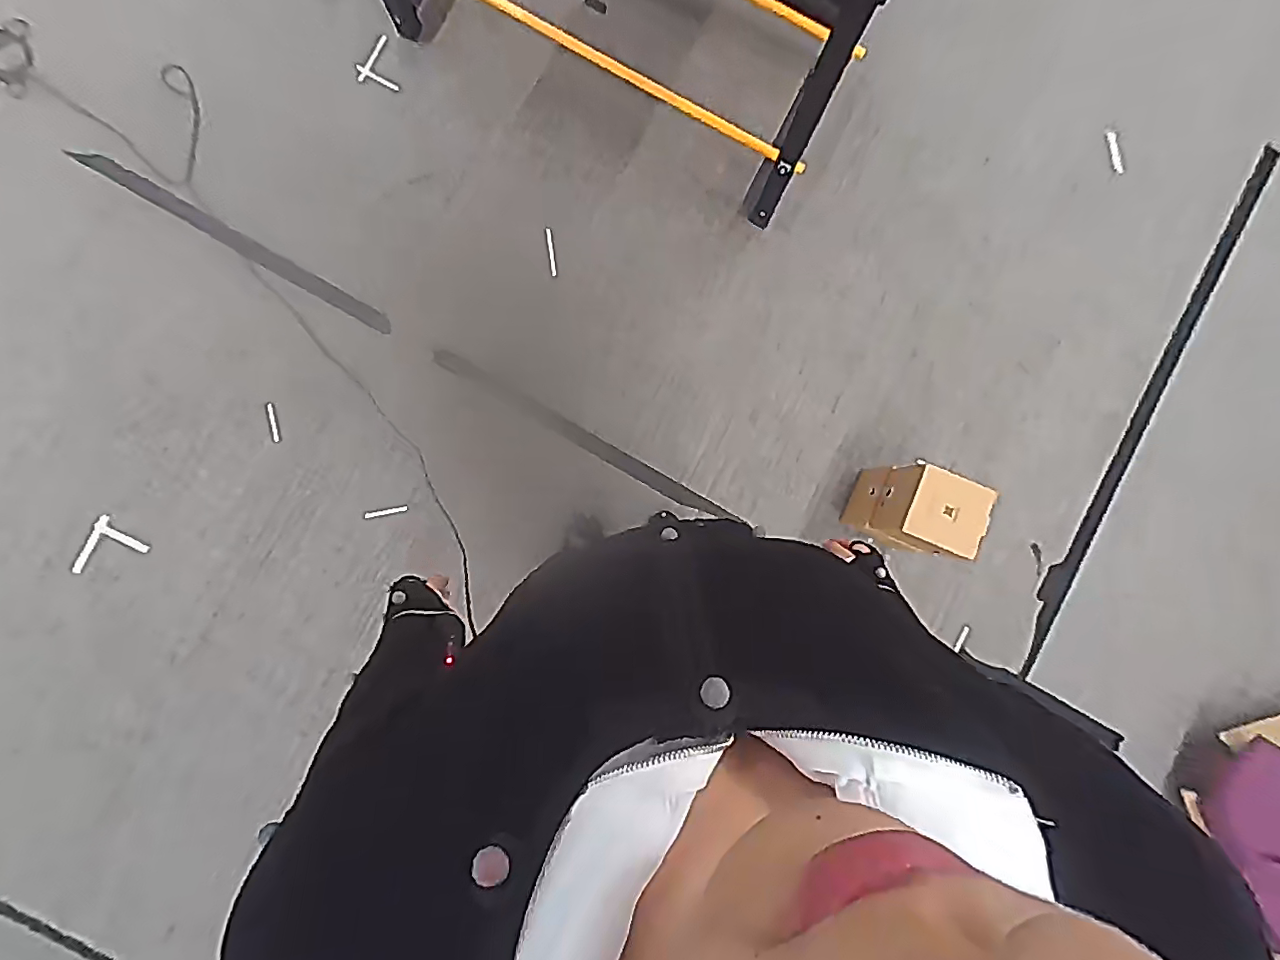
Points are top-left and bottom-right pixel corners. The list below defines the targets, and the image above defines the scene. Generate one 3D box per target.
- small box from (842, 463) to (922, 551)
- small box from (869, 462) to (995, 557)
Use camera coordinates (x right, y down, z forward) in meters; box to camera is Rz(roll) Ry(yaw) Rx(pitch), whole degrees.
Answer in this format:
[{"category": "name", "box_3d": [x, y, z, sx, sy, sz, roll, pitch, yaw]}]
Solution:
[{"category": "small box", "box_3d": [0.668, 0.070, 1.442, 0.168, 0.176, 0.179, 25, 88, 0]}, {"category": "small box", "box_3d": [0.682, 0.069, 1.279, 0.179, 0.176, 0.168, 22, 86, 1]}]
